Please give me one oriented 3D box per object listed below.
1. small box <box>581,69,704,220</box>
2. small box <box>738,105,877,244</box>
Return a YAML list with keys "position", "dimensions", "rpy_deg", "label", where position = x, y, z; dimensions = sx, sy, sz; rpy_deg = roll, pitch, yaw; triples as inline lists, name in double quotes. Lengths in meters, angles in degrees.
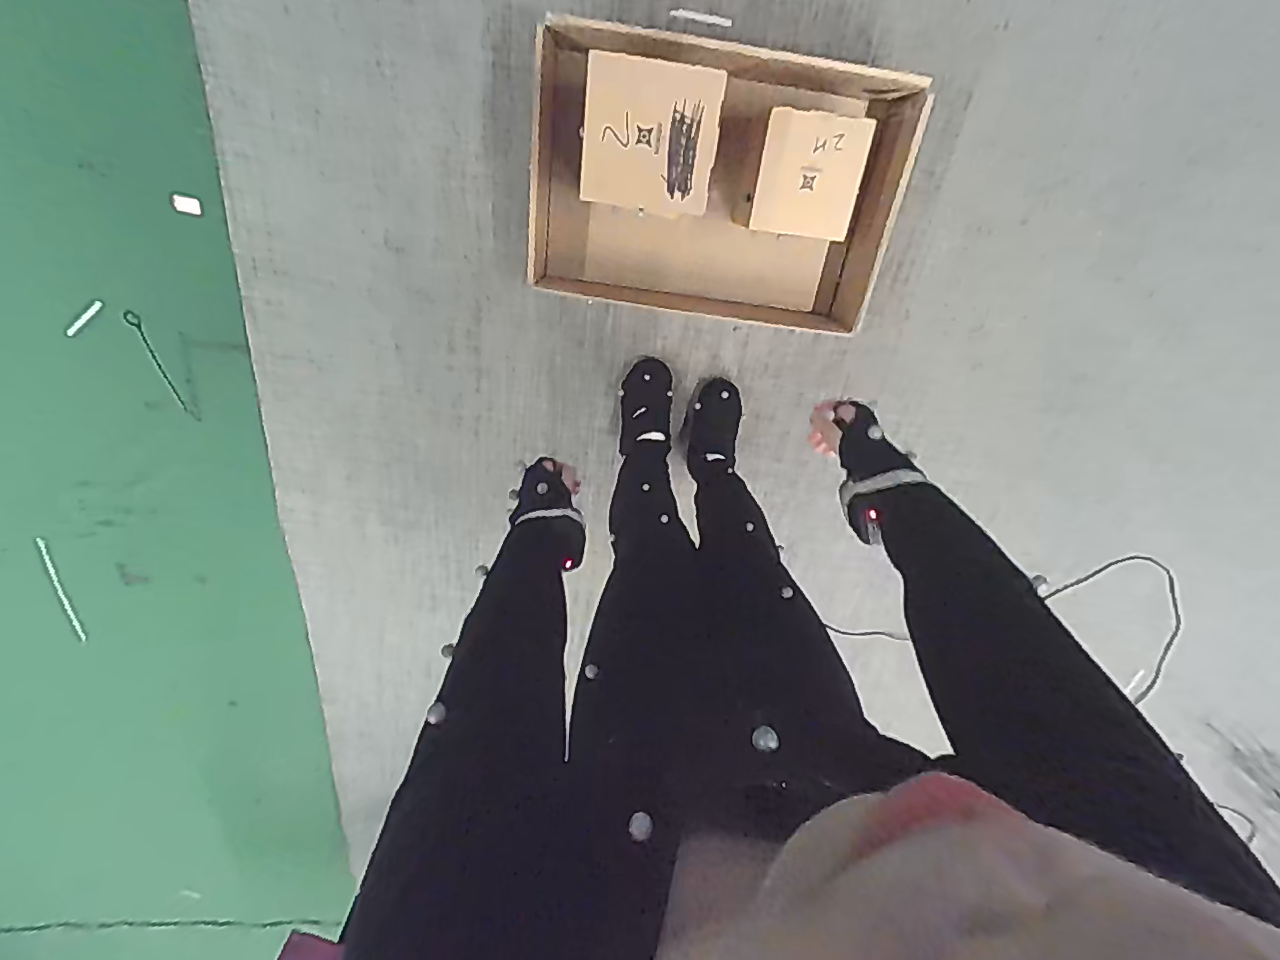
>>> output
- position: [0.001, -0.555, 0.914]
  dimensions: [0.168, 0.176, 0.179]
  rpy_deg: [10, 117, -6]
  label: "small box"
- position: [0.272, -0.519, 0.930]
  dimensions: [0.168, 0.176, 0.179]
  rpy_deg: [7, 118, -3]
  label: "small box"
